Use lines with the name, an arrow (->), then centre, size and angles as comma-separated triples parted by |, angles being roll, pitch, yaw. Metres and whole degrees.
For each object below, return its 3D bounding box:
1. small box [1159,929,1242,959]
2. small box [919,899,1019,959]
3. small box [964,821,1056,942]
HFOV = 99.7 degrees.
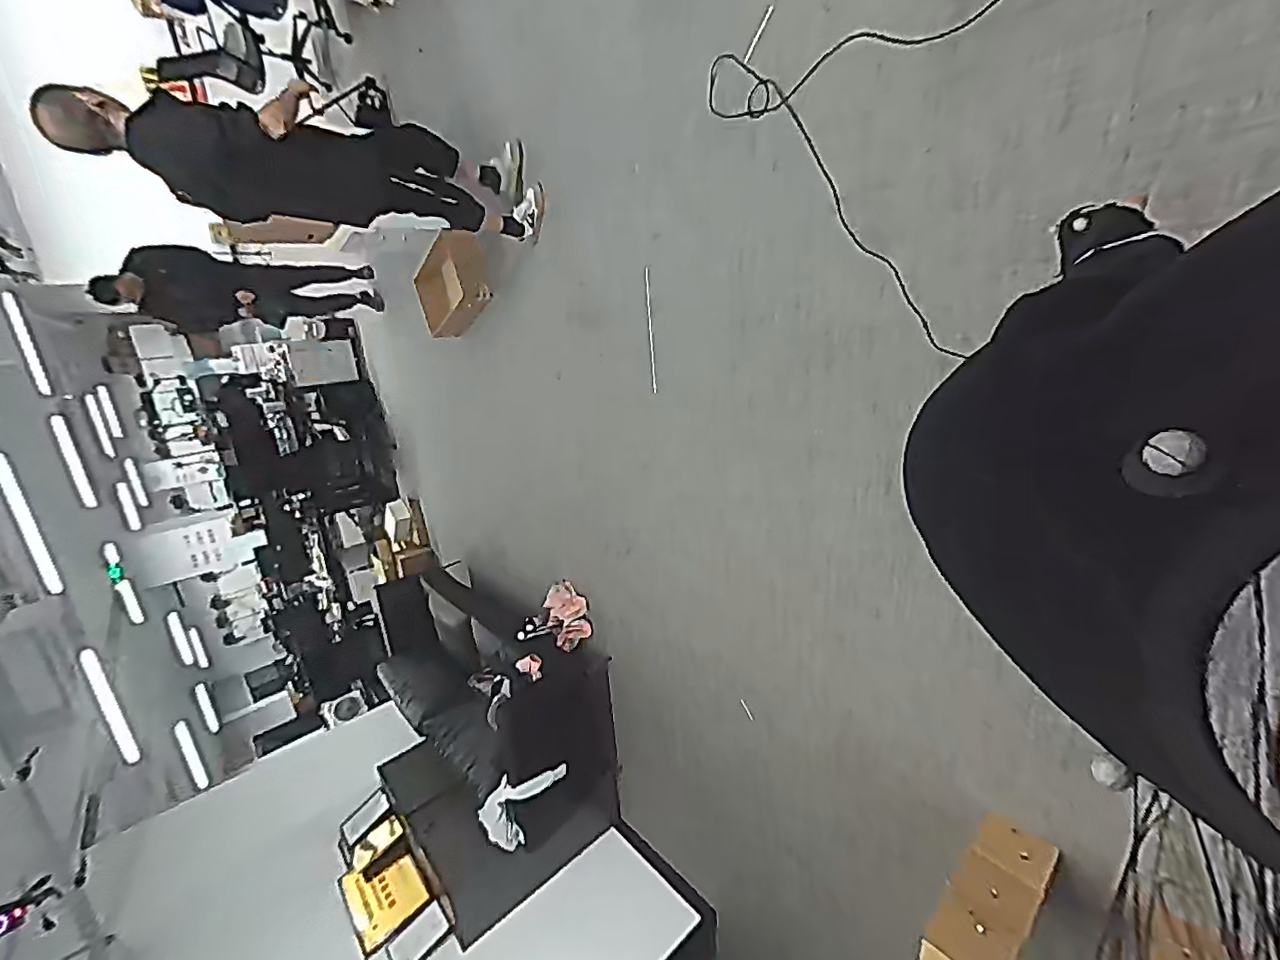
small box -> 1.300, 1.186, 1.231 | 0.179, 0.176, 0.168 | 8, 110, 48
small box -> 0.793, 1.190, 1.312 | 0.168, 0.176, 0.179 | 16, 115, 45
small box -> 1.039, 1.113, 1.517 | 0.168, 0.176, 0.179 | 16, 116, 46
